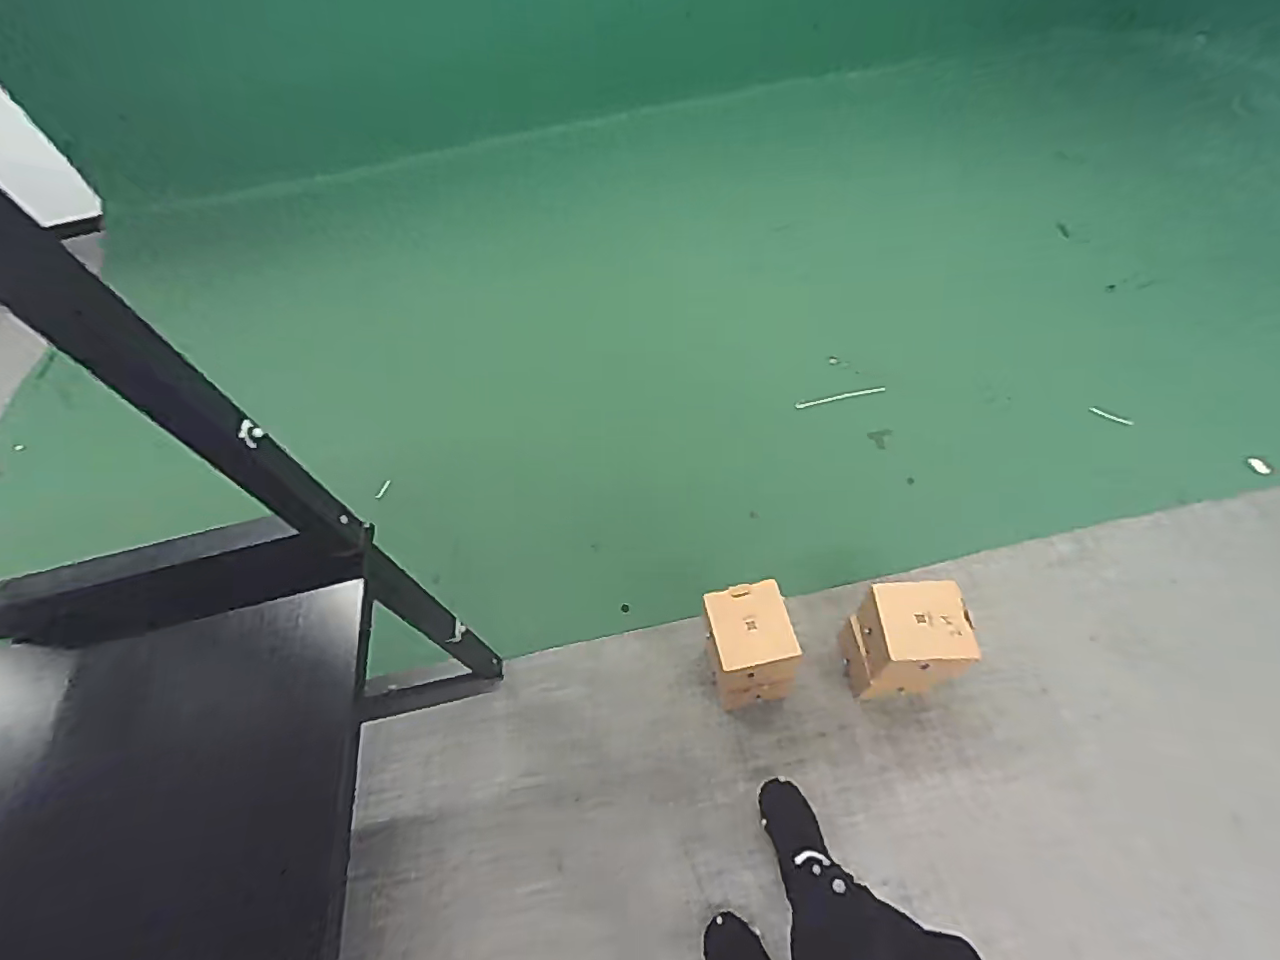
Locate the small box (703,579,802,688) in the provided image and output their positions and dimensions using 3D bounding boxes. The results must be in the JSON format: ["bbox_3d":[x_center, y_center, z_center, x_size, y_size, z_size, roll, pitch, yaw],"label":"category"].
[{"bbox_3d":[0.245,0.348,1.200,0.168,0.176,0.179,-13,54,-1],"label":"small box"}]

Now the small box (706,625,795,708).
[{"bbox_3d":[0.266,0.446,1.328,0.168,0.176,0.179,-14,55,-2],"label":"small box"}]

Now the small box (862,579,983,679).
[{"bbox_3d":[0.591,0.326,1.164,0.179,0.176,0.168,-3,56,5],"label":"small box"}]
